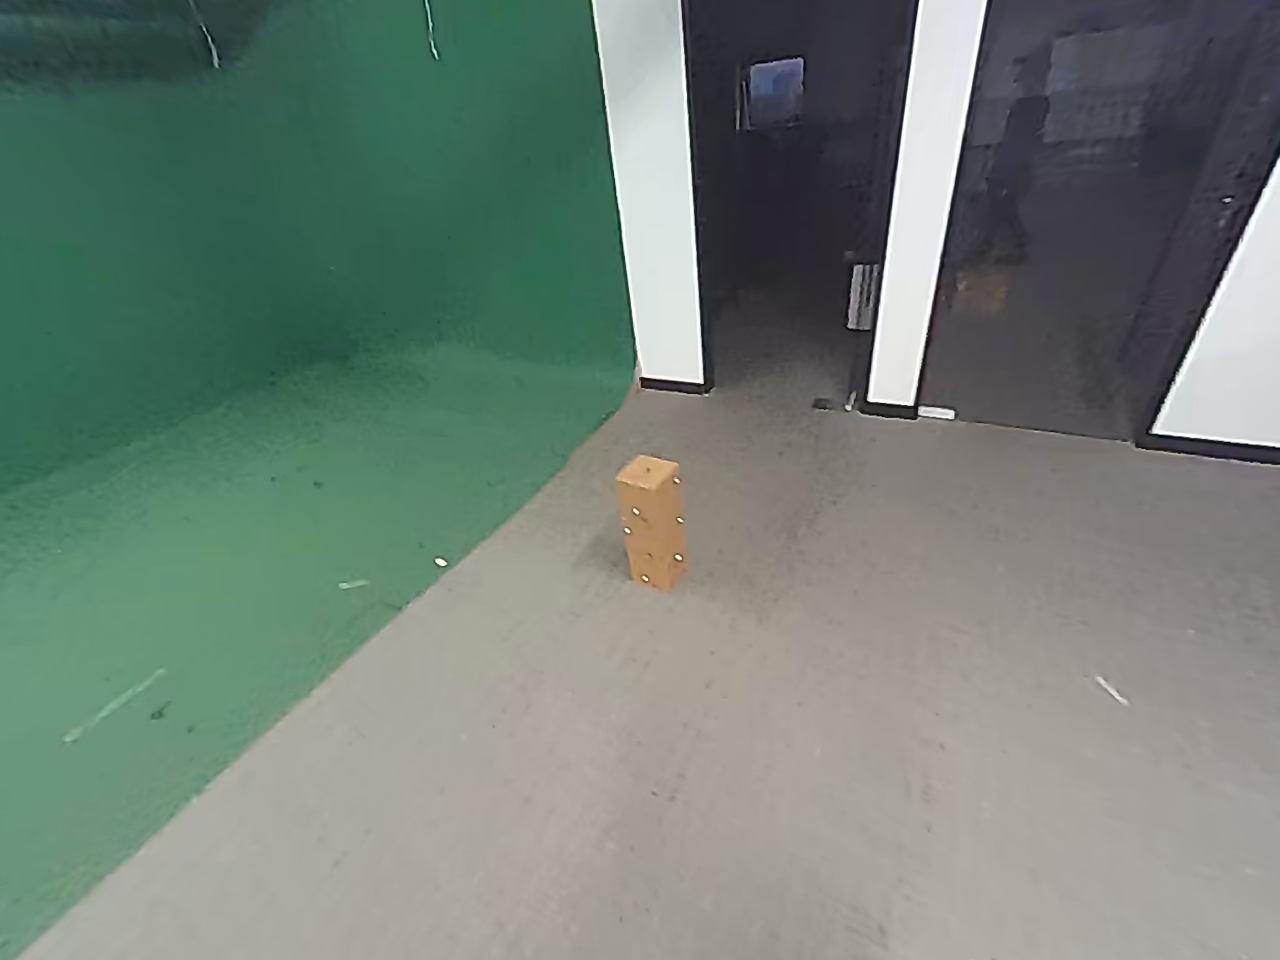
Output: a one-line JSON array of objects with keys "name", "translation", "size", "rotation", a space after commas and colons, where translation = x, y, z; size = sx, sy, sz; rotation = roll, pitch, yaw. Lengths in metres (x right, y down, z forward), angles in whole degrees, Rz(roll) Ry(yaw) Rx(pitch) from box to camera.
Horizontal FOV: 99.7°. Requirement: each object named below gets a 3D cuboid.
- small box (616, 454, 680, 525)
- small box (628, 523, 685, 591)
[{"name": "small box", "translation": [0.036, 0.031, 1.948], "size": [0.168, 0.176, 0.179], "rotation": [15, 40, 30]}, {"name": "small box", "translation": [0.070, 0.303, 2.131], "size": [0.168, 0.176, 0.179], "rotation": [13, 40, 27]}]
